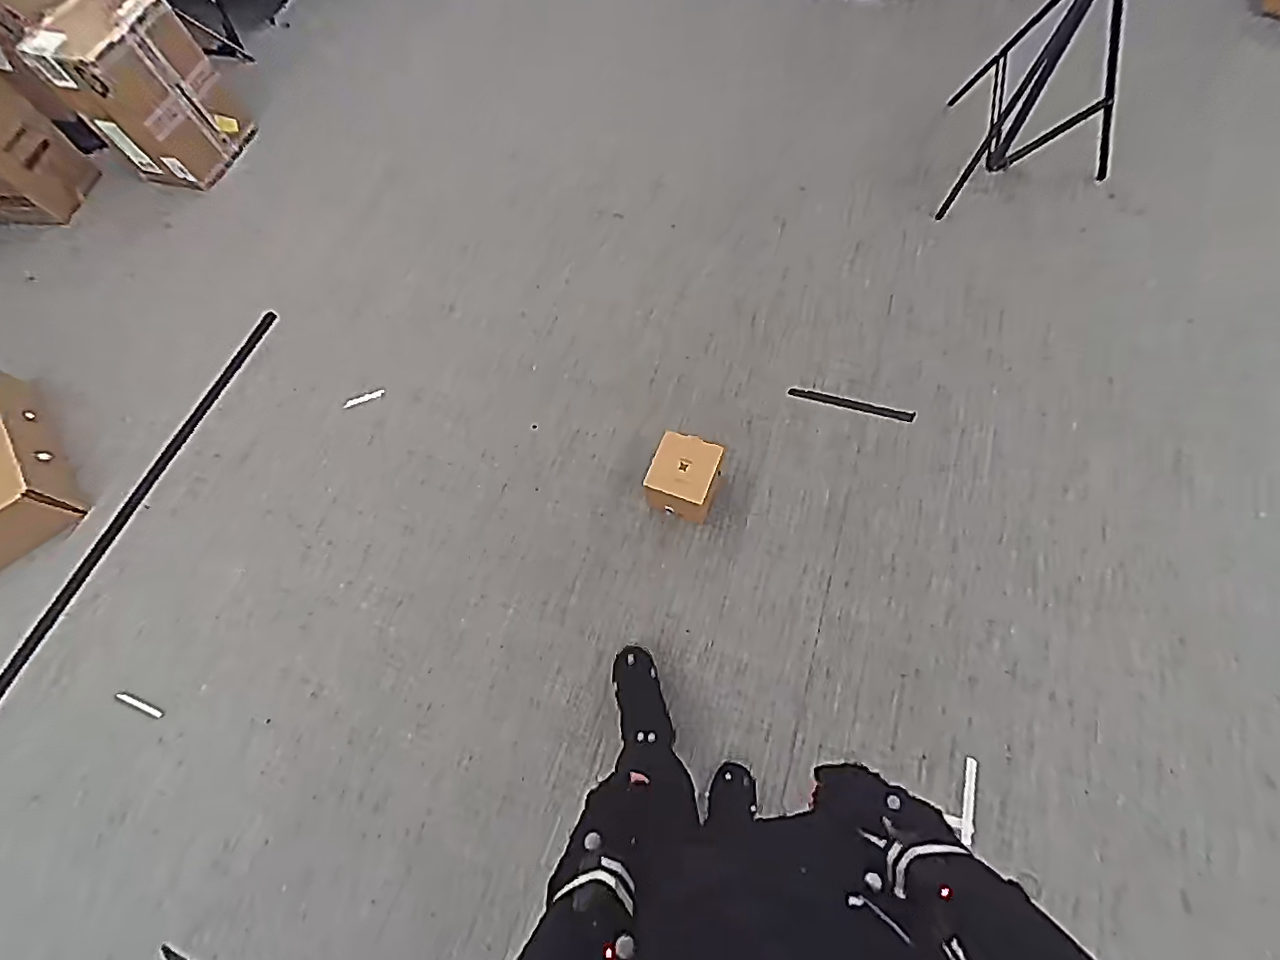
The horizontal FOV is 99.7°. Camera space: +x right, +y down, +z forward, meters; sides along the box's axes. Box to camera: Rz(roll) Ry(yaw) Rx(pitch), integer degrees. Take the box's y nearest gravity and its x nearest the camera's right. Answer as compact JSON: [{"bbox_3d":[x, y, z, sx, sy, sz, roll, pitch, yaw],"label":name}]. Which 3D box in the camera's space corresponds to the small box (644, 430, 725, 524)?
[{"bbox_3d":[0.122,-0.004,1.471,0.168,0.176,0.179,18,71,14],"label":"small box"}]
